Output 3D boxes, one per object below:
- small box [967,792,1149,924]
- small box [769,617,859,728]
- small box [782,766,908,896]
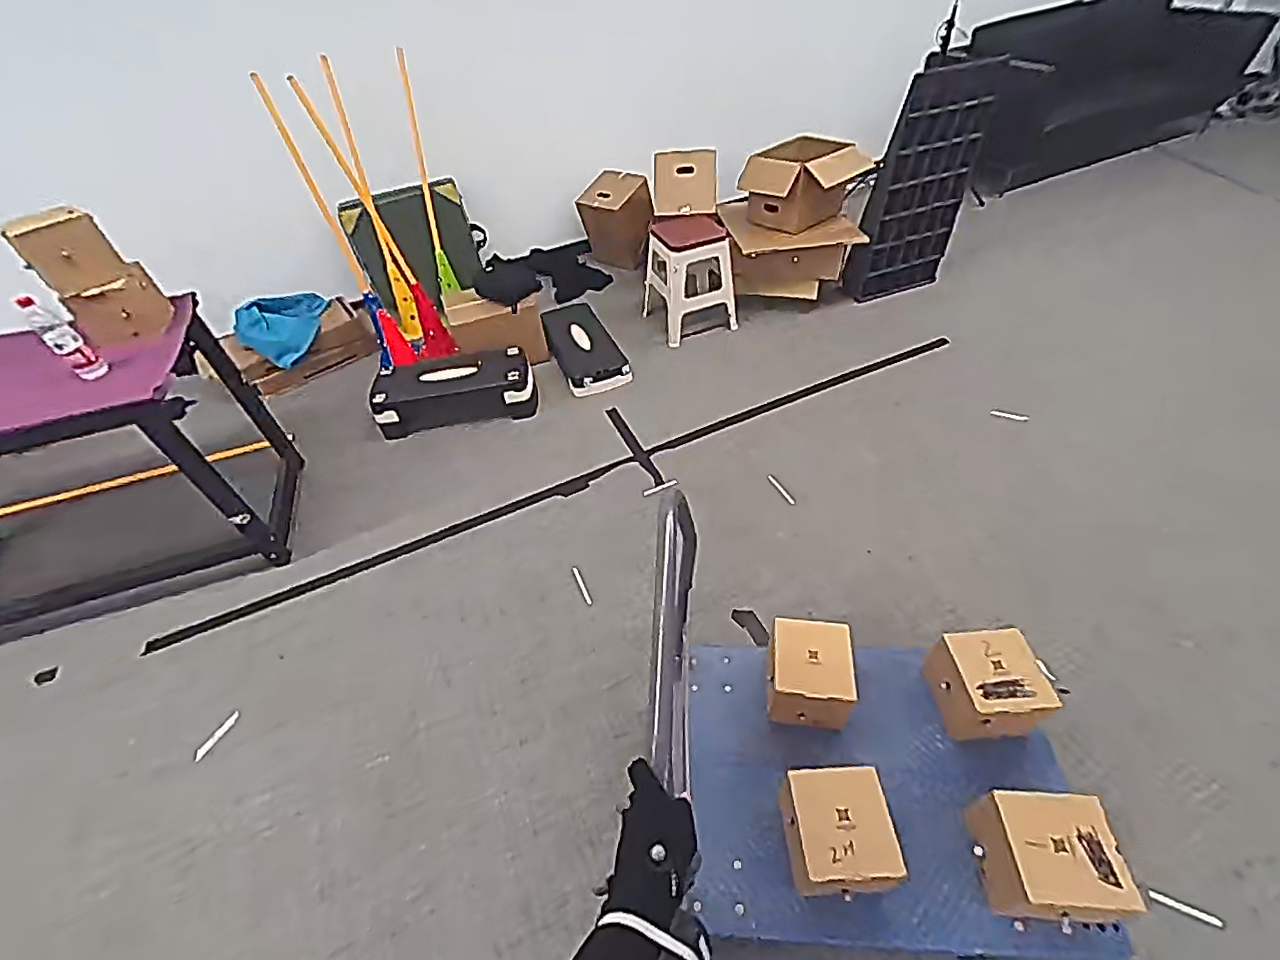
[{"bbox_3d":[0.727,0.677,0.966,0.179,0.176,0.168,0,46,8],"label":"small box"},{"bbox_3d":[0.387,0.439,1.233,0.168,0.176,0.179,4,48,9],"label":"small box"},{"bbox_3d":[0.373,0.663,1.020,0.168,0.176,0.179,-4,46,3],"label":"small box"}]
